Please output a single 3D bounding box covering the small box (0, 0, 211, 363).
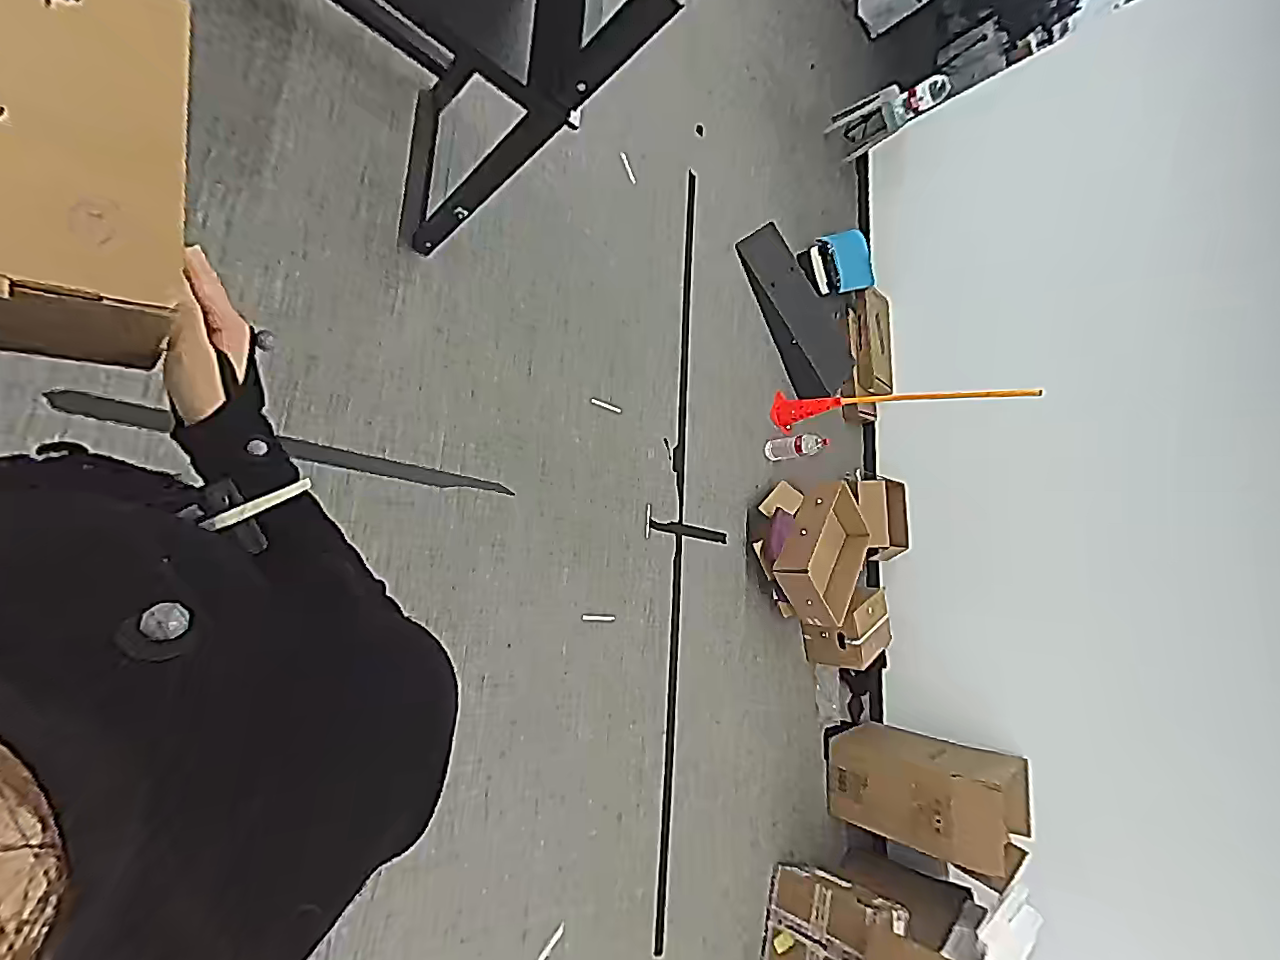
[{"bbox_3d":[-0.352,-0.170,0.292,0.168,0.176,0.179,2,87,-47],"label":"small box"}]
